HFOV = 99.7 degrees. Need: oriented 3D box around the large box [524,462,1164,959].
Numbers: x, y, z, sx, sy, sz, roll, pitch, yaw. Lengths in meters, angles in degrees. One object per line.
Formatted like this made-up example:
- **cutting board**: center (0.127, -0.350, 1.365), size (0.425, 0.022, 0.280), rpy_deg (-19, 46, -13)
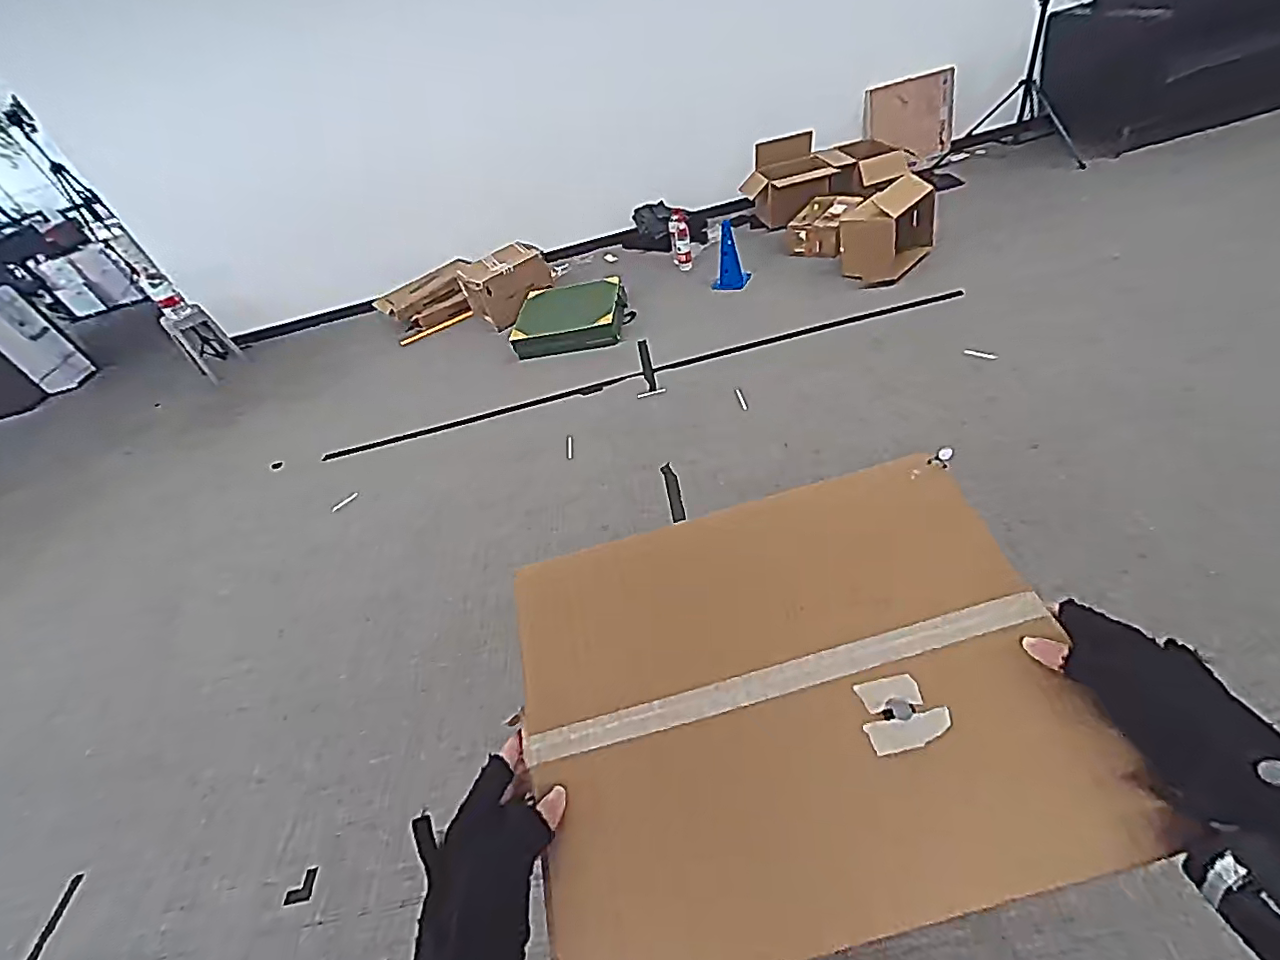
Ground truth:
- **large box**: center (0.136, 0.241, 0.550), size (0.408, 0.320, 0.320), rpy_deg (-16, 55, 0)
